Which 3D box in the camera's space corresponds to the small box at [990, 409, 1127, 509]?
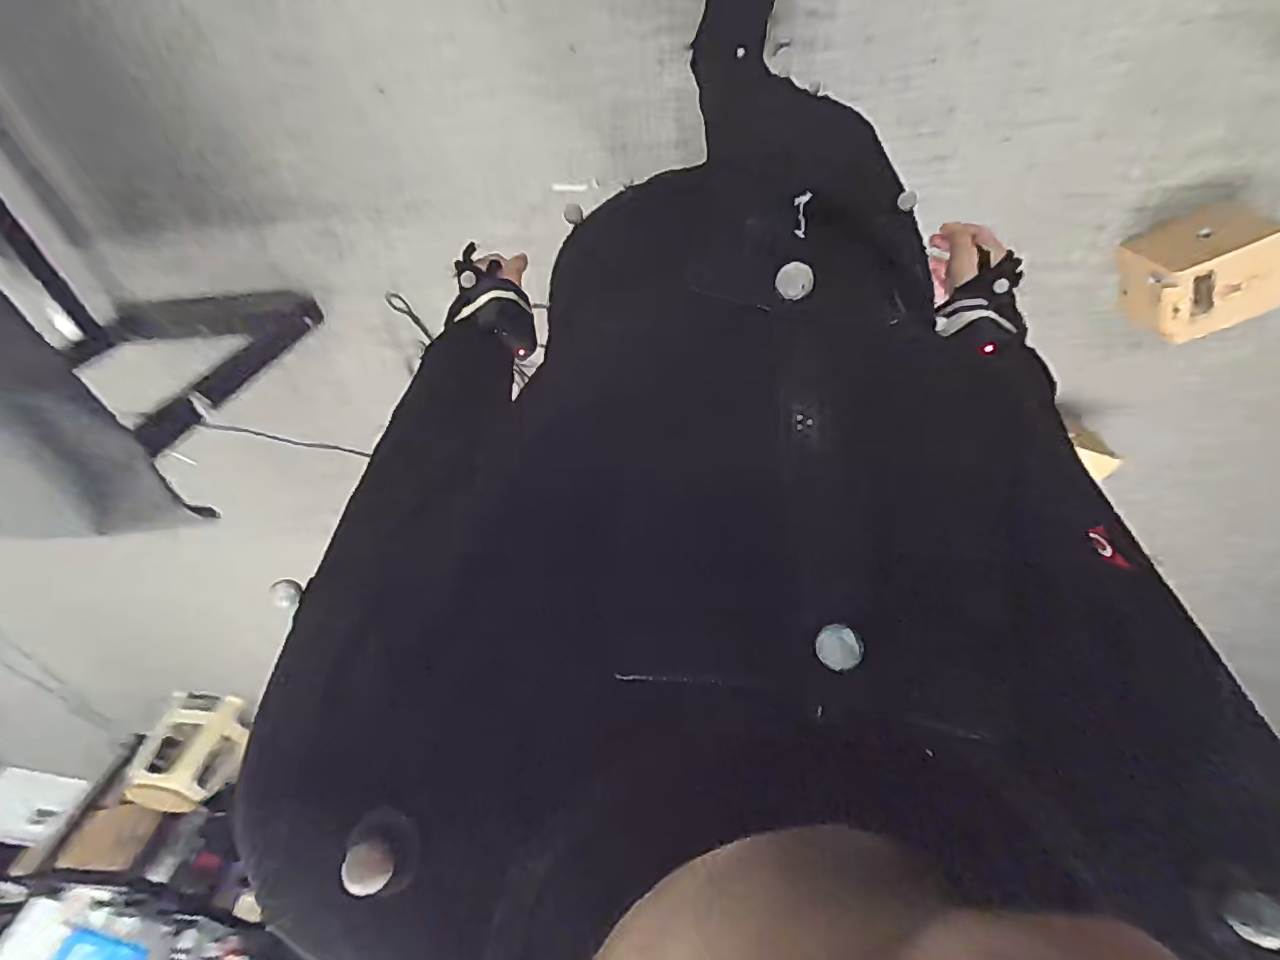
[{"bbox_3d":[1.035,-0.057,1.354,0.179,0.176,0.168,14,131,-6],"label":"small box"}]
